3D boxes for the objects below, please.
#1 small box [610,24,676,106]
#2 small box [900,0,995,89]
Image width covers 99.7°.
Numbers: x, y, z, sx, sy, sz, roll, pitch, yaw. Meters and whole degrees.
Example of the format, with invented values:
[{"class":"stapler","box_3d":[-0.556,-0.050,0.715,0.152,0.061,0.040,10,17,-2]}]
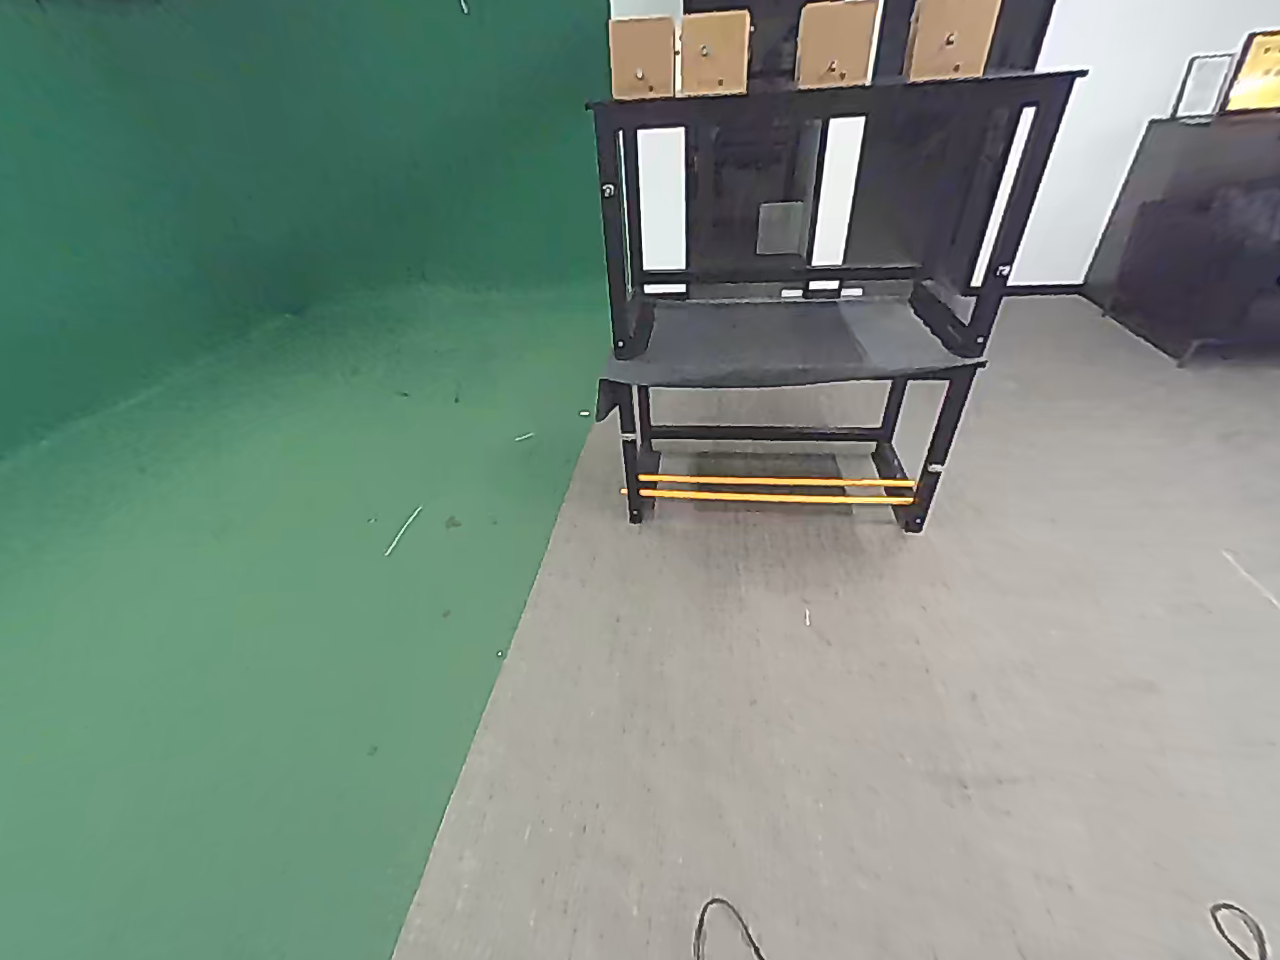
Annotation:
[{"class":"small box","box_3d":[0.013,-1.132,1.483,0.168,0.176,0.179,1,37,6]},{"class":"small box","box_3d":[0.766,-1.098,1.362,0.168,0.176,0.179,7,37,14]}]
